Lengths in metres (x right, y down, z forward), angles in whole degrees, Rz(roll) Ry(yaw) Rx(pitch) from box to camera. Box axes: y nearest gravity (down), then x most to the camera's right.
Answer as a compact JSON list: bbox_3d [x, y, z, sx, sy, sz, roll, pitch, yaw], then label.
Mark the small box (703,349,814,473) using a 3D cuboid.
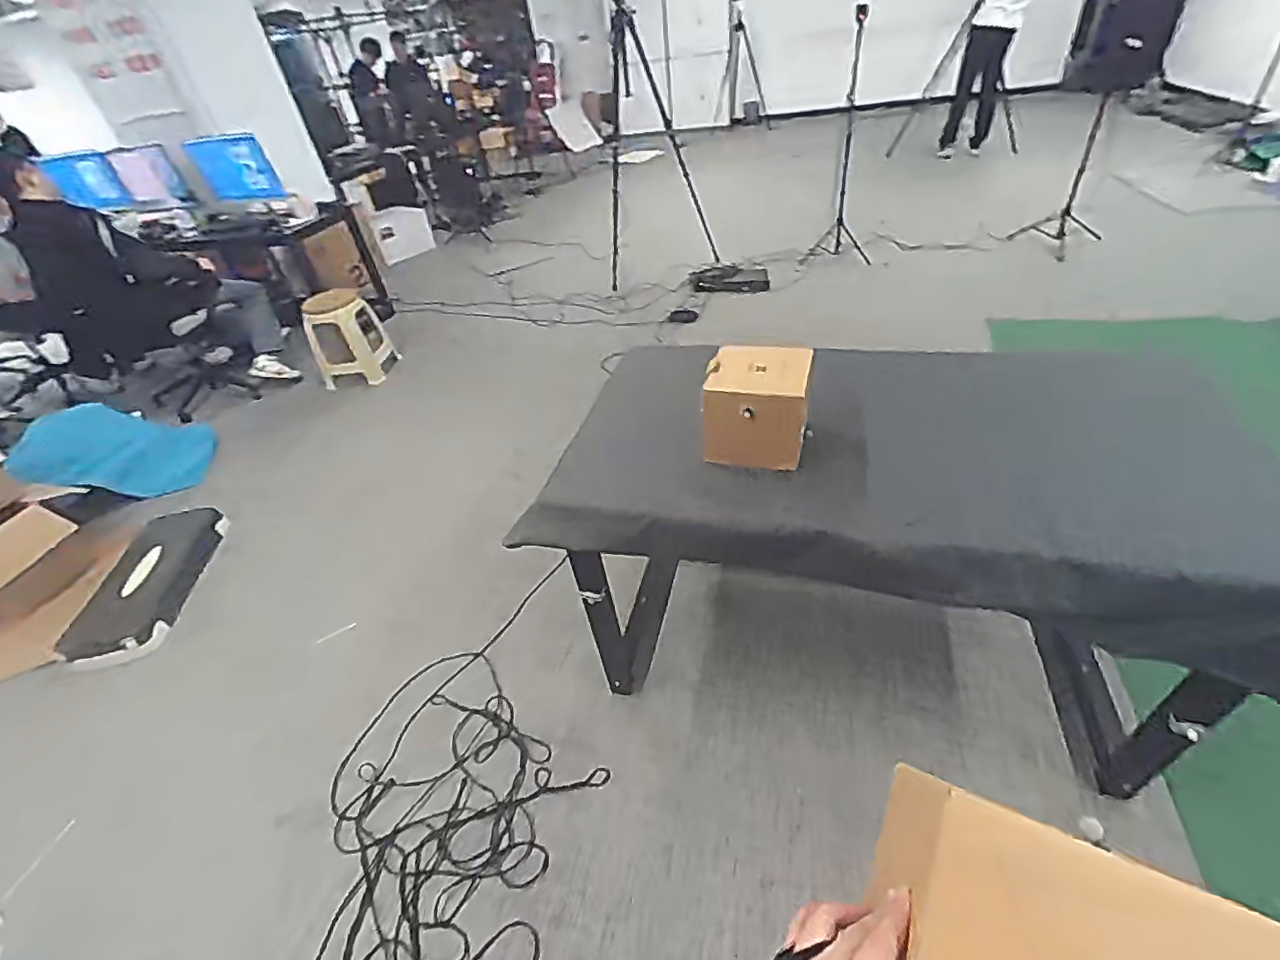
[{"bbox_3d":[0.223,-0.131,1.018,0.179,0.176,0.168,8,43,17],"label":"small box"}]
